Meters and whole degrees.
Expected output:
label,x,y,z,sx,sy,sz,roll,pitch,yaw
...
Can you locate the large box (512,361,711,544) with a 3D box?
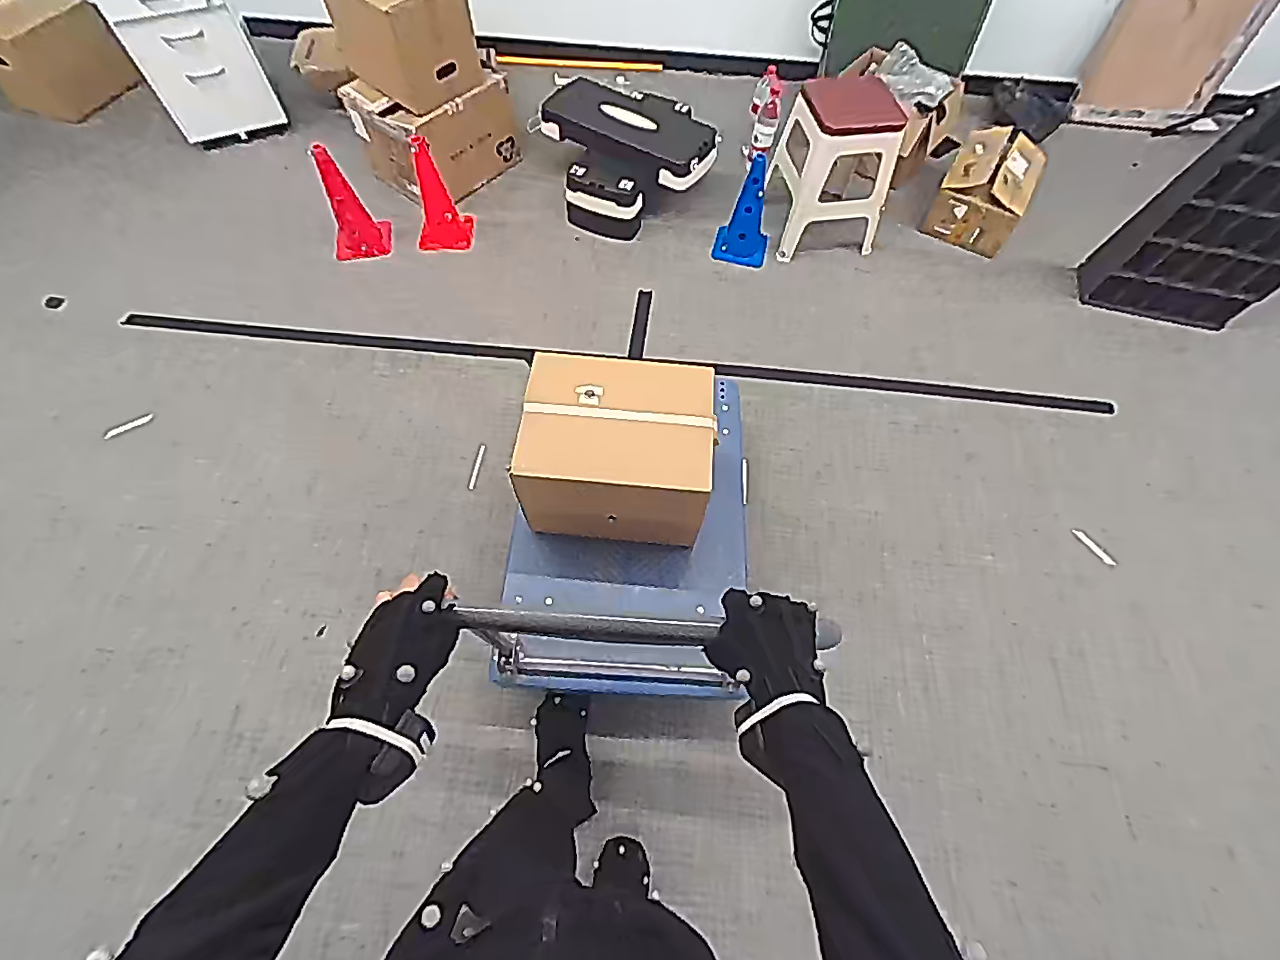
label,x,y,z,sx,sy,sz,roll,pitch,yaw
large box,-0.049,-0.052,1.282,0.408,0.320,0.320,5,63,2
